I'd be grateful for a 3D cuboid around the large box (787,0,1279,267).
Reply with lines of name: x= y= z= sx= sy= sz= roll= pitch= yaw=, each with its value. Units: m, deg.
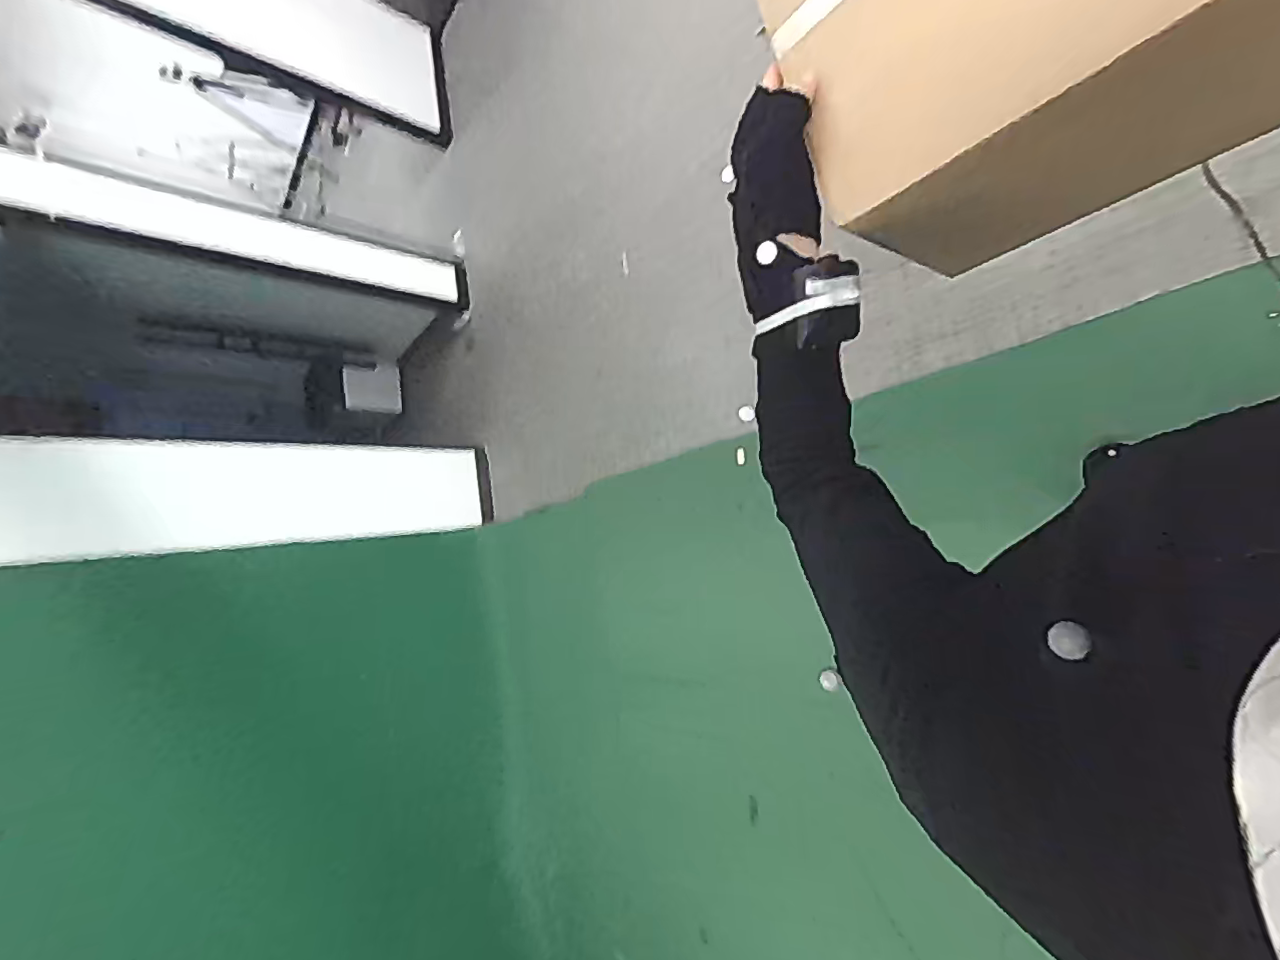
large box: x=0.366 y=-0.423 z=0.408 sx=0.408 sy=0.320 sz=0.320 roll=-20 pitch=84 yaw=45
